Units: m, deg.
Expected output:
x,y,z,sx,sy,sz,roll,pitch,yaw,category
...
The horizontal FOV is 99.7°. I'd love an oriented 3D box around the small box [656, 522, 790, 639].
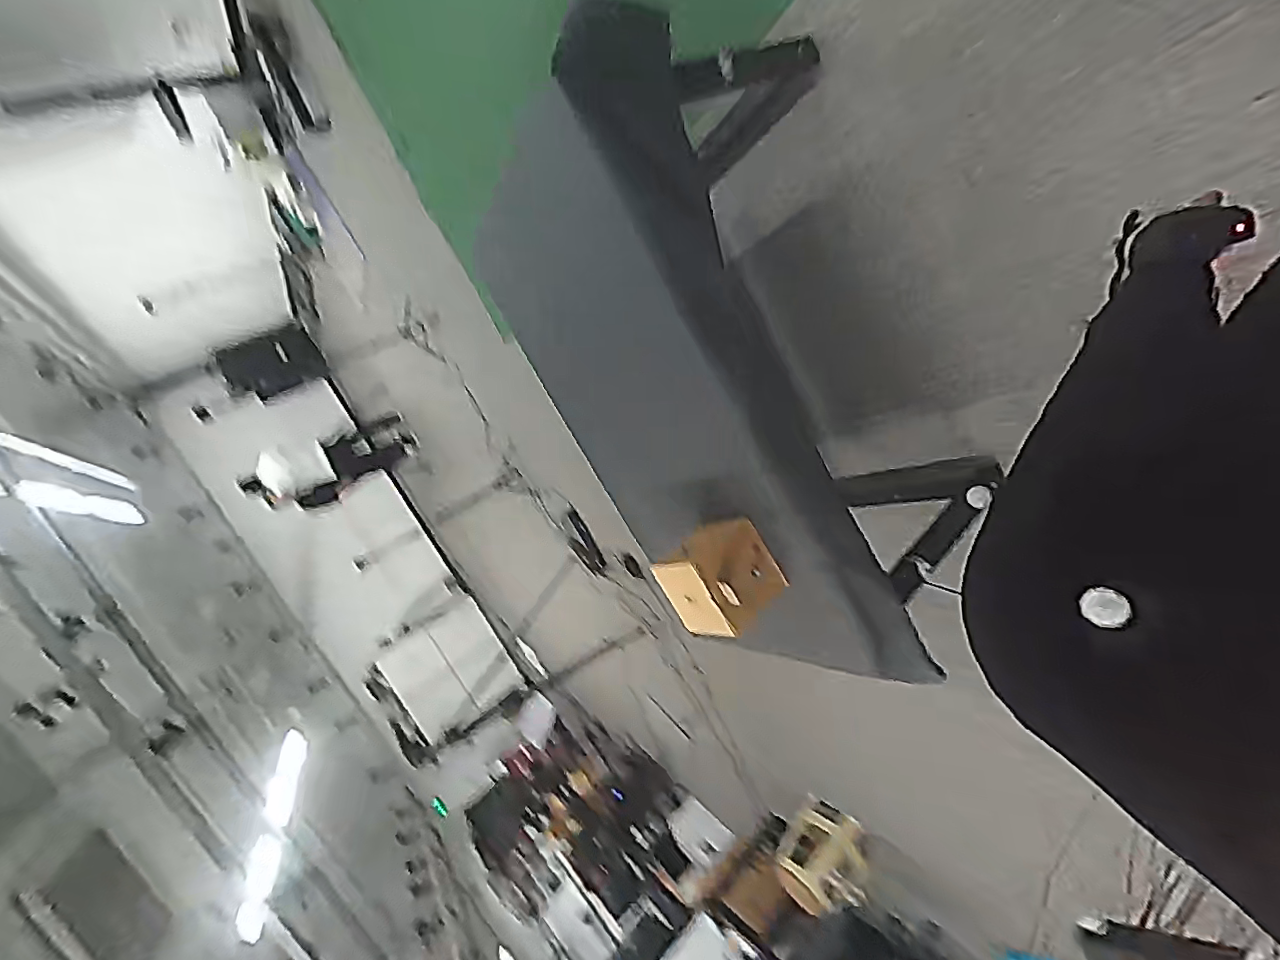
x,y,z,sx,sy,sz,roll,pitch,yaw,category
0.170,0.204,1.113,0.168,0.176,0.179,59,151,-3,small box
